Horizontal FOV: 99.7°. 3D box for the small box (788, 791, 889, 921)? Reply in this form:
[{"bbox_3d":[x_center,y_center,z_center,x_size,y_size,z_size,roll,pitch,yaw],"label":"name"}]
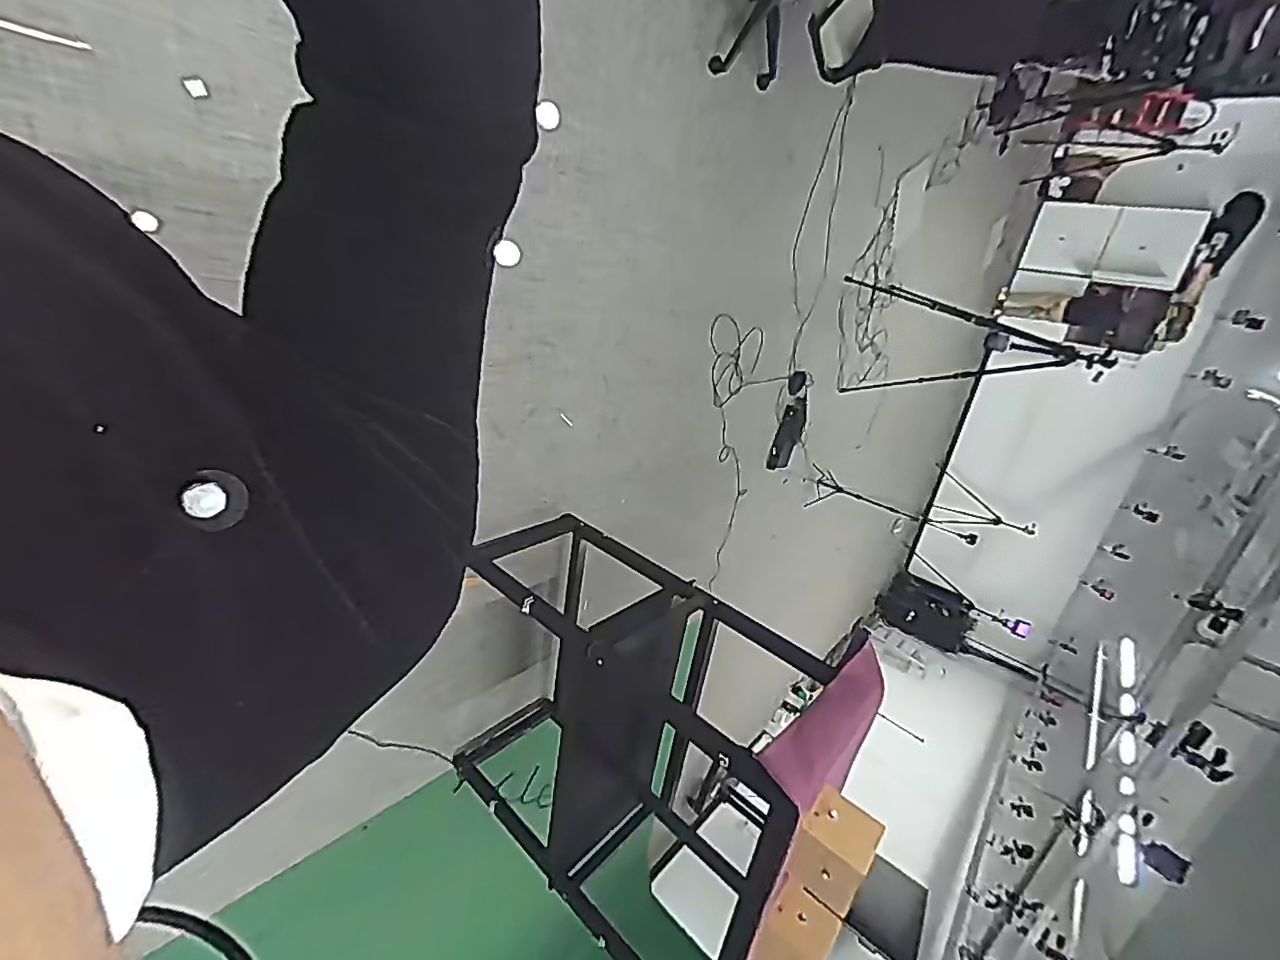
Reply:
[{"bbox_3d":[0.496,0.942,1.371,0.168,0.176,0.179,-18,124,-46],"label":"small box"}]

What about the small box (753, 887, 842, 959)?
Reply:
[{"bbox_3d":[0.438,1.301,1.520,0.168,0.176,0.179,-14,122,-47],"label":"small box"}]
